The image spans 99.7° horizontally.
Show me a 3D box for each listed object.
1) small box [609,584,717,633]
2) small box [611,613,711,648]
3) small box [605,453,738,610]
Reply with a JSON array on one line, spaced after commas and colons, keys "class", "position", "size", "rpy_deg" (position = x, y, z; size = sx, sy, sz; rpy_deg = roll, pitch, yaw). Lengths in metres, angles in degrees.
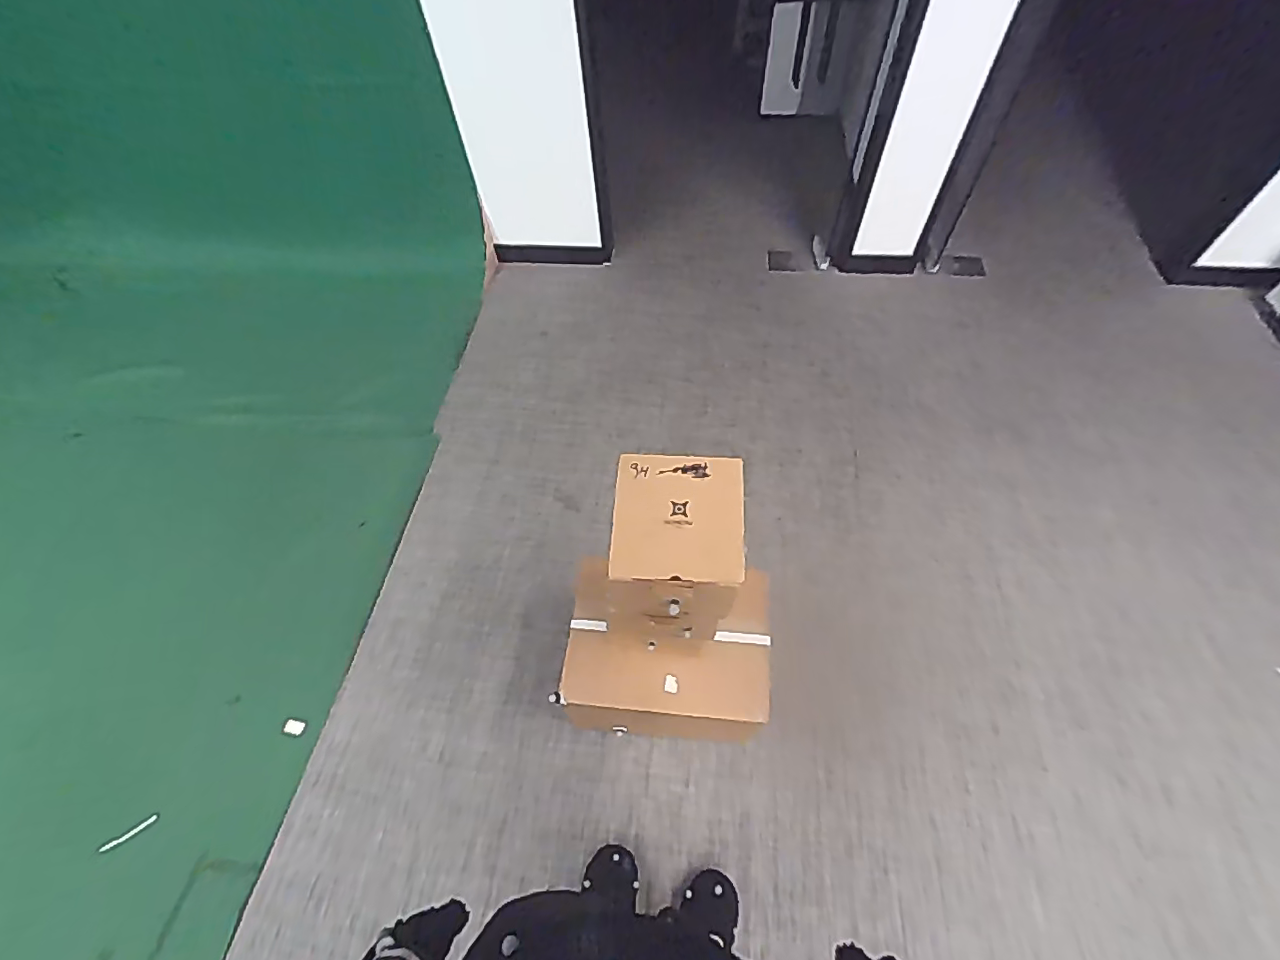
[{"class": "small box", "position": [0.044, 0.152, 0.906], "size": [0.168, 0.176, 0.179], "rpy_deg": [2, 63, 4]}, {"class": "small box", "position": [0.047, 0.226, 1.050], "size": [0.179, 0.176, 0.168], "rpy_deg": [4, 64, 5]}, {"class": "small box", "position": [0.049, 0.079, 0.760], "size": [0.168, 0.176, 0.179], "rpy_deg": [2, 64, 4]}]
